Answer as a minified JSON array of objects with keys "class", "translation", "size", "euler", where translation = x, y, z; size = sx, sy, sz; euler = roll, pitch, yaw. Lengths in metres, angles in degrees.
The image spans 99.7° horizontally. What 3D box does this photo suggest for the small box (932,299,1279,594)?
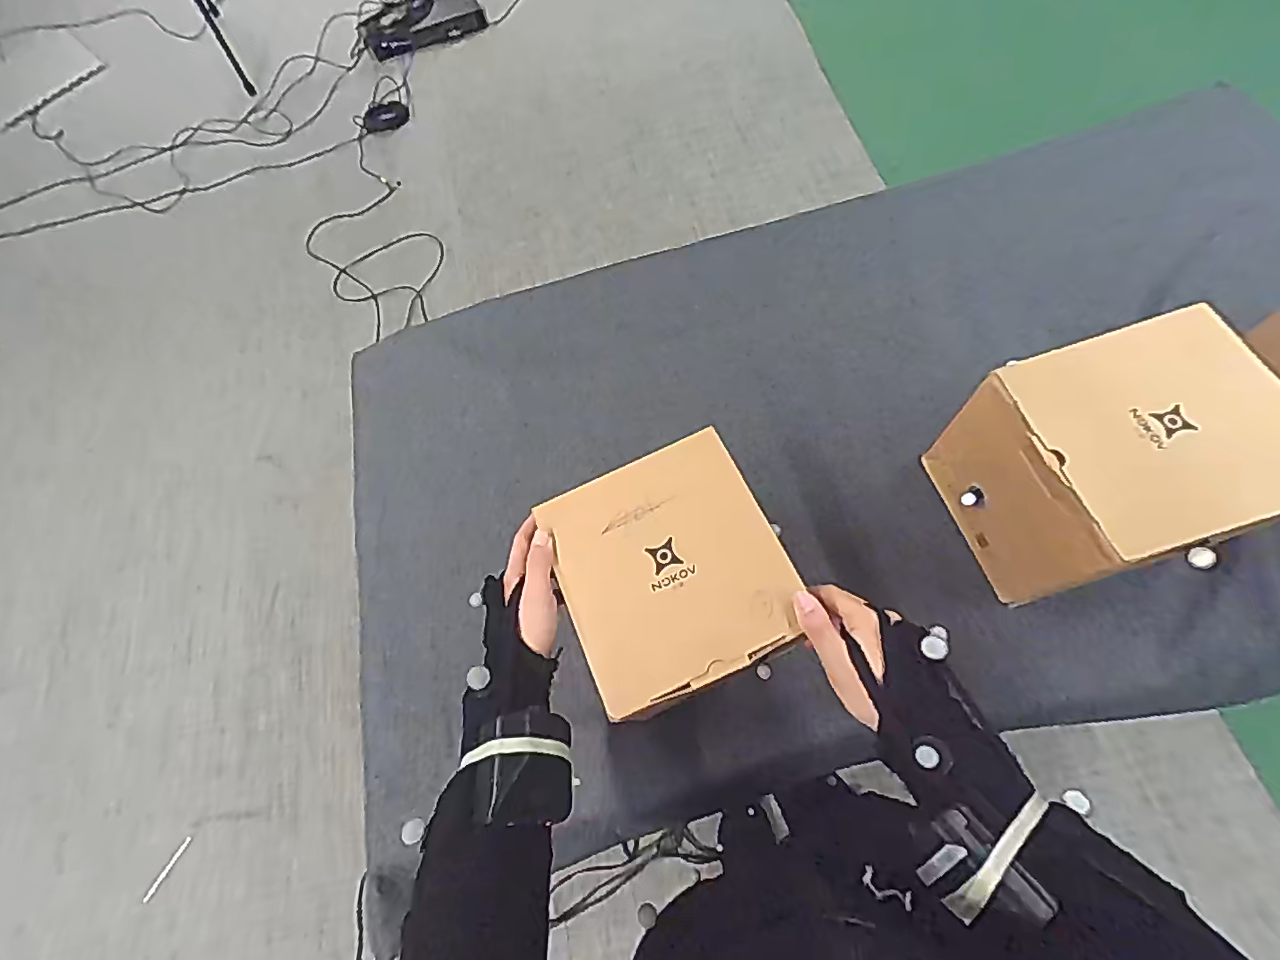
[{"class":"small box","translation":[0.393,-0.015,0.463],"size":[0.179,0.176,0.168],"euler":[-18,66,2]}]
